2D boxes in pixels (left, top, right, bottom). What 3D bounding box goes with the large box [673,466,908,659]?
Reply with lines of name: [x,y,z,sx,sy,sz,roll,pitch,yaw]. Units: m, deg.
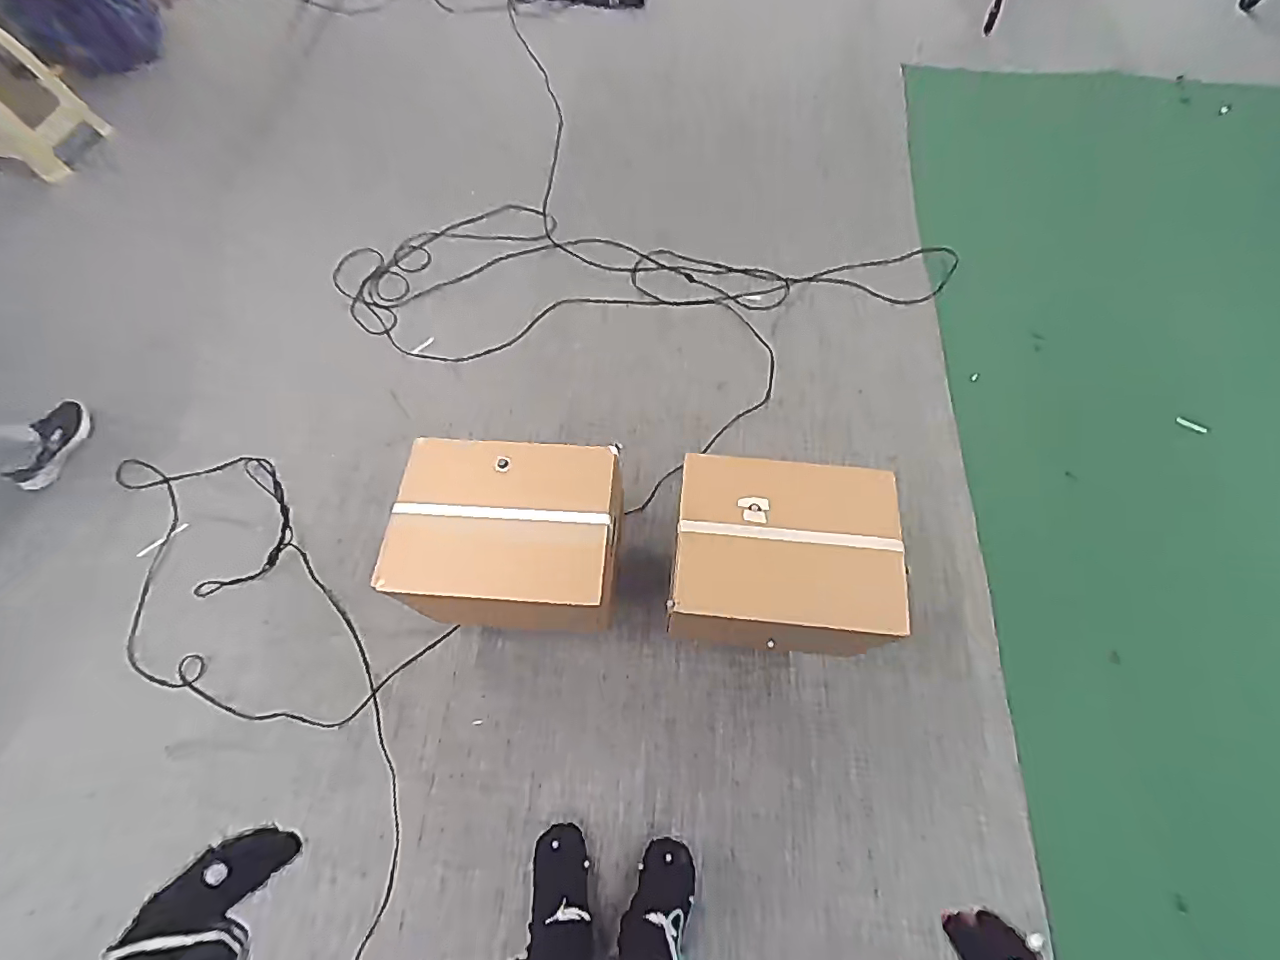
large box: [0.284,0.185,1.132,0.408,0.320,0.320,5,65,4]
